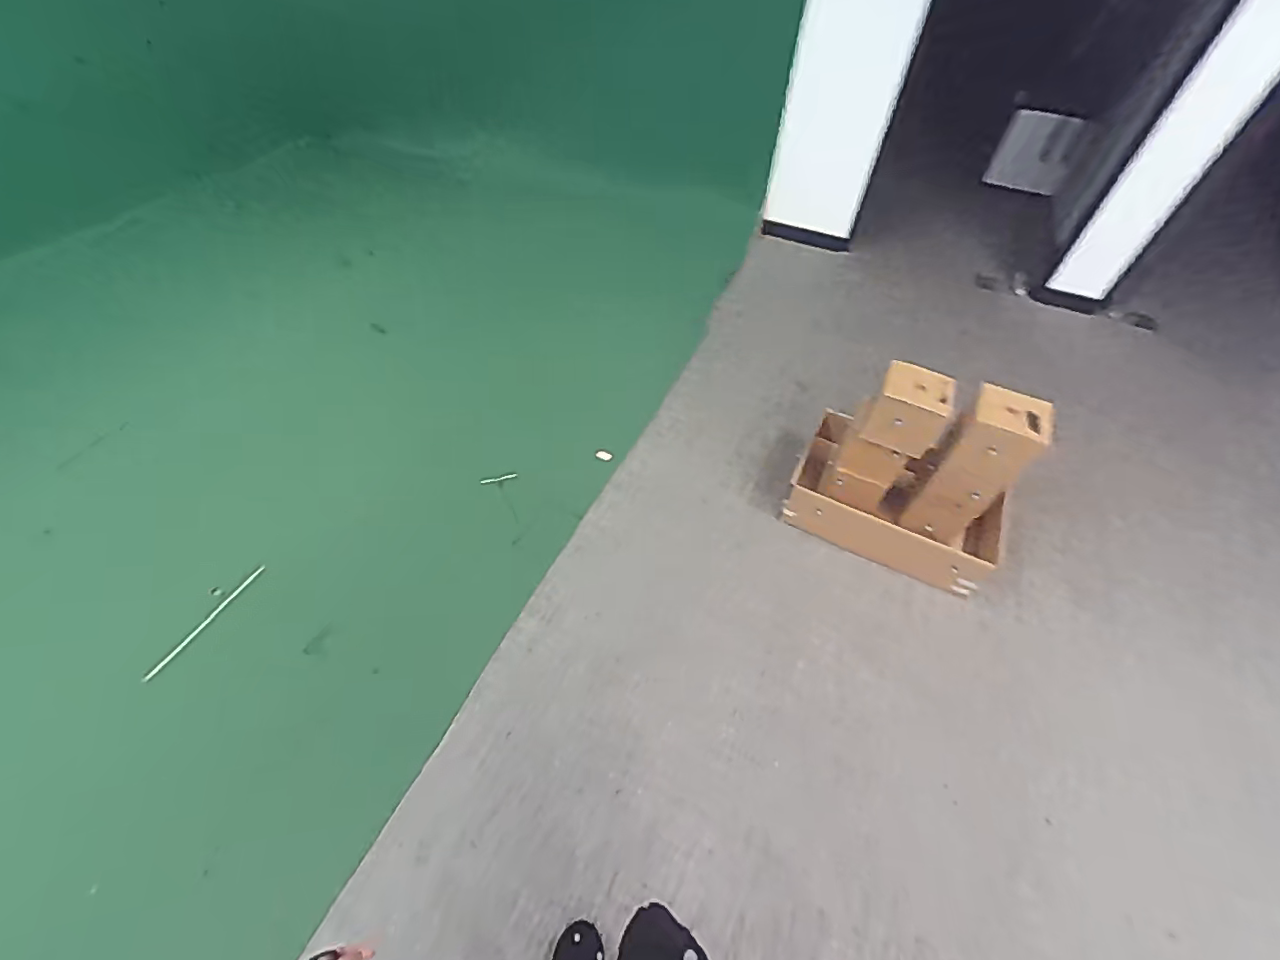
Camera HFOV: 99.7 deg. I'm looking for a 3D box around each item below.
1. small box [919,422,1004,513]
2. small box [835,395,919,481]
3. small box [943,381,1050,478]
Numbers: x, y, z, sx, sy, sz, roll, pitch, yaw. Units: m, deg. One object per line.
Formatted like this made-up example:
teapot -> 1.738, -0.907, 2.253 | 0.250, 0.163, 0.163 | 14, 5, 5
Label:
small box -> 0.943, -0.033, 1.582 | 0.168, 0.176, 0.179 | 23, 55, 16
small box -> 0.716, -0.124, 1.646 | 0.179, 0.176, 0.168 | 22, 55, 12
small box -> 0.950, -0.129, 1.448 | 0.179, 0.176, 0.168 | 23, 55, 16
